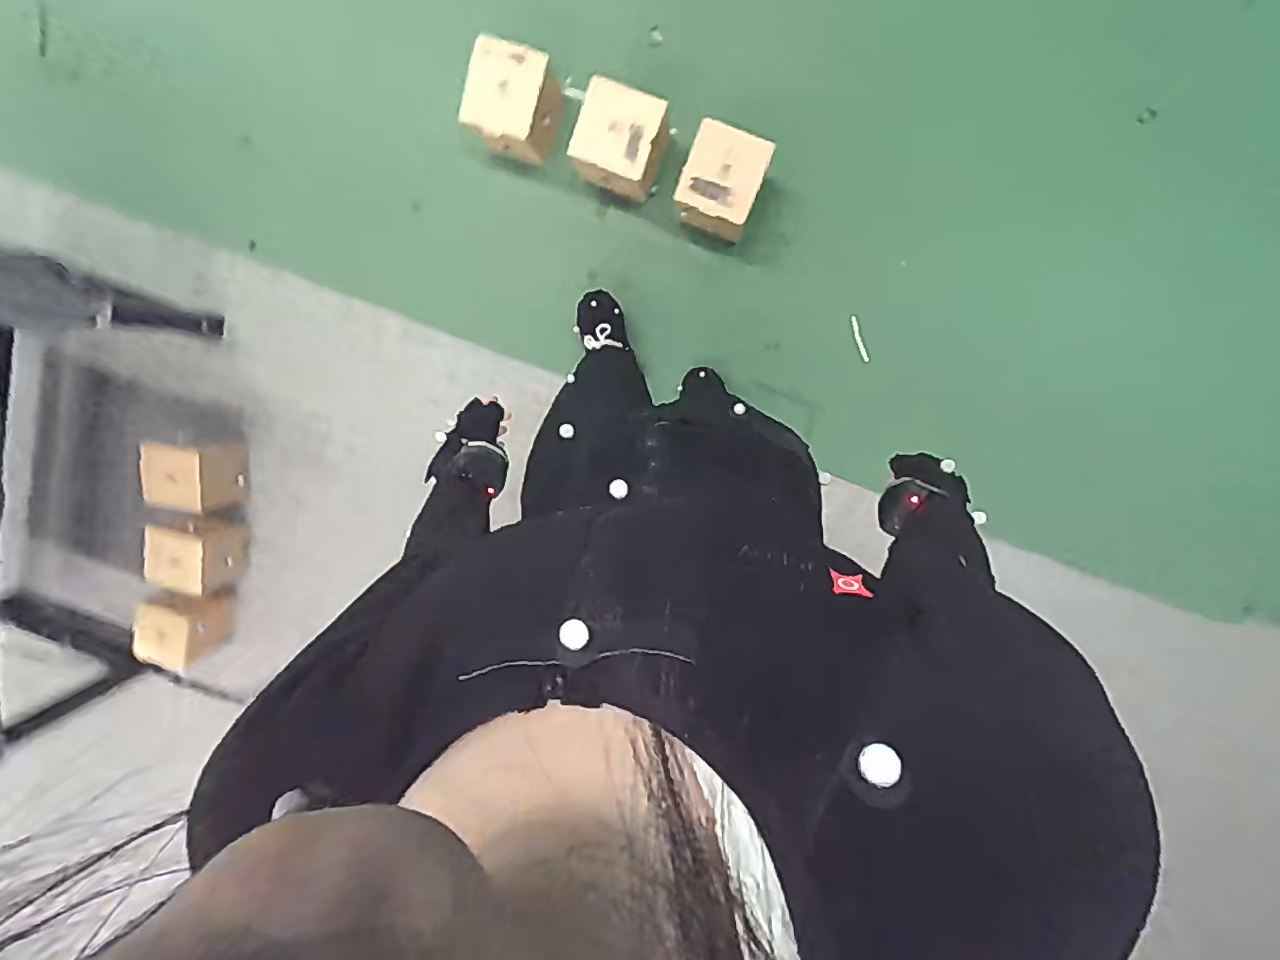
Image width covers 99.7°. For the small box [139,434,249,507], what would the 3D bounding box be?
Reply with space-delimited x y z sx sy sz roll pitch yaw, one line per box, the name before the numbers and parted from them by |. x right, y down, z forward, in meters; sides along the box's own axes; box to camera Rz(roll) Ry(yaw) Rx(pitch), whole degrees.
small box | -1.258 -0.034 1.532 0.179 0.176 0.168 10 103 5

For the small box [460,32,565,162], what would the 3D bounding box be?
small box | -0.287 -0.871 1.251 0.168 0.176 0.179 20 104 2
